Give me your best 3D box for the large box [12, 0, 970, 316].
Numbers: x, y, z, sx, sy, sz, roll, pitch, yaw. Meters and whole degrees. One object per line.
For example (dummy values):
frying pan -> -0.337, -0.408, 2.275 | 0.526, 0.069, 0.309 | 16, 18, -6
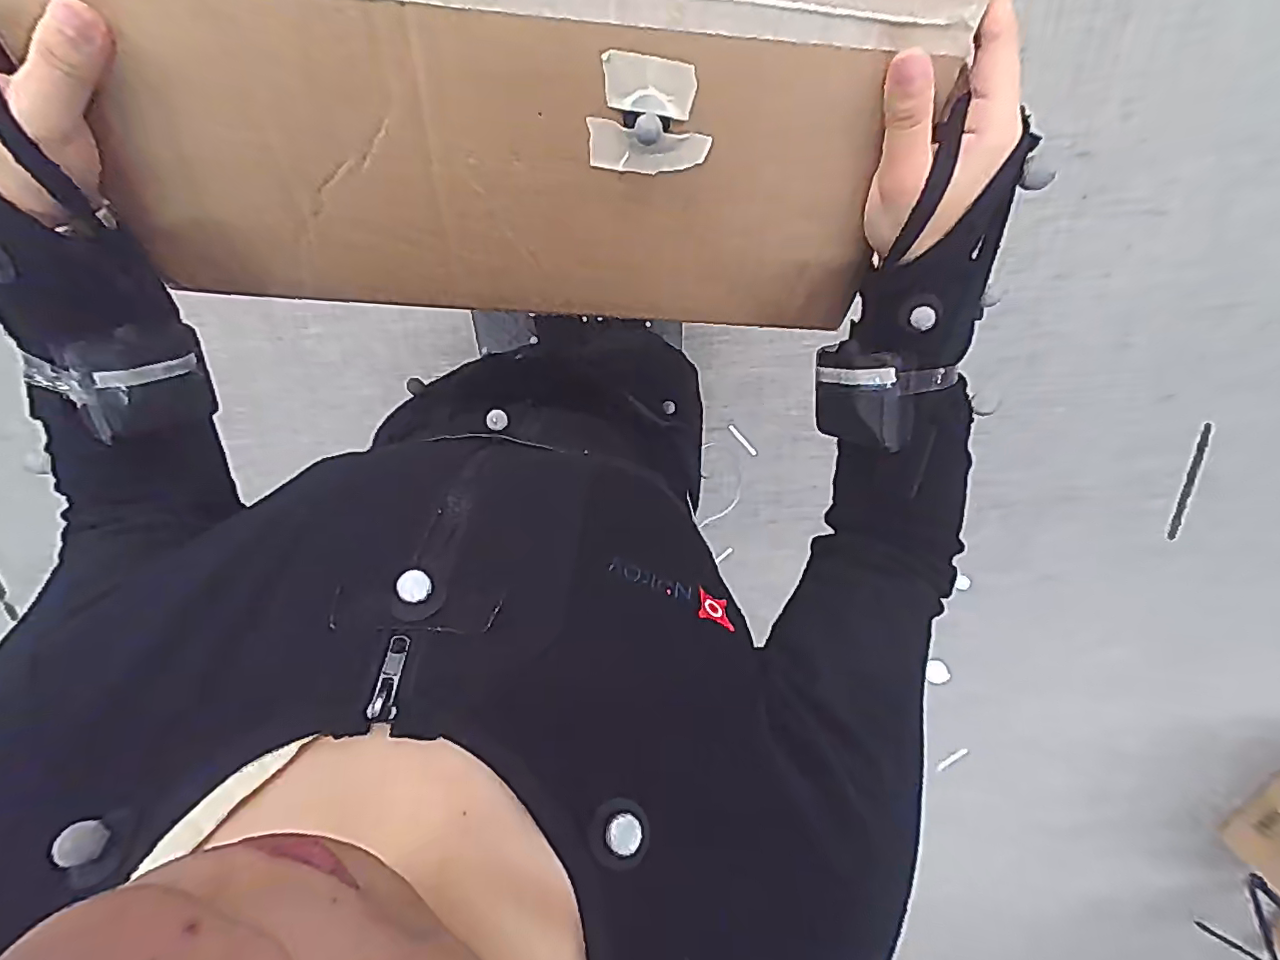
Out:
large box -> -0.064, -0.322, 0.317 | 0.408, 0.320, 0.320 | 1, 143, -6
